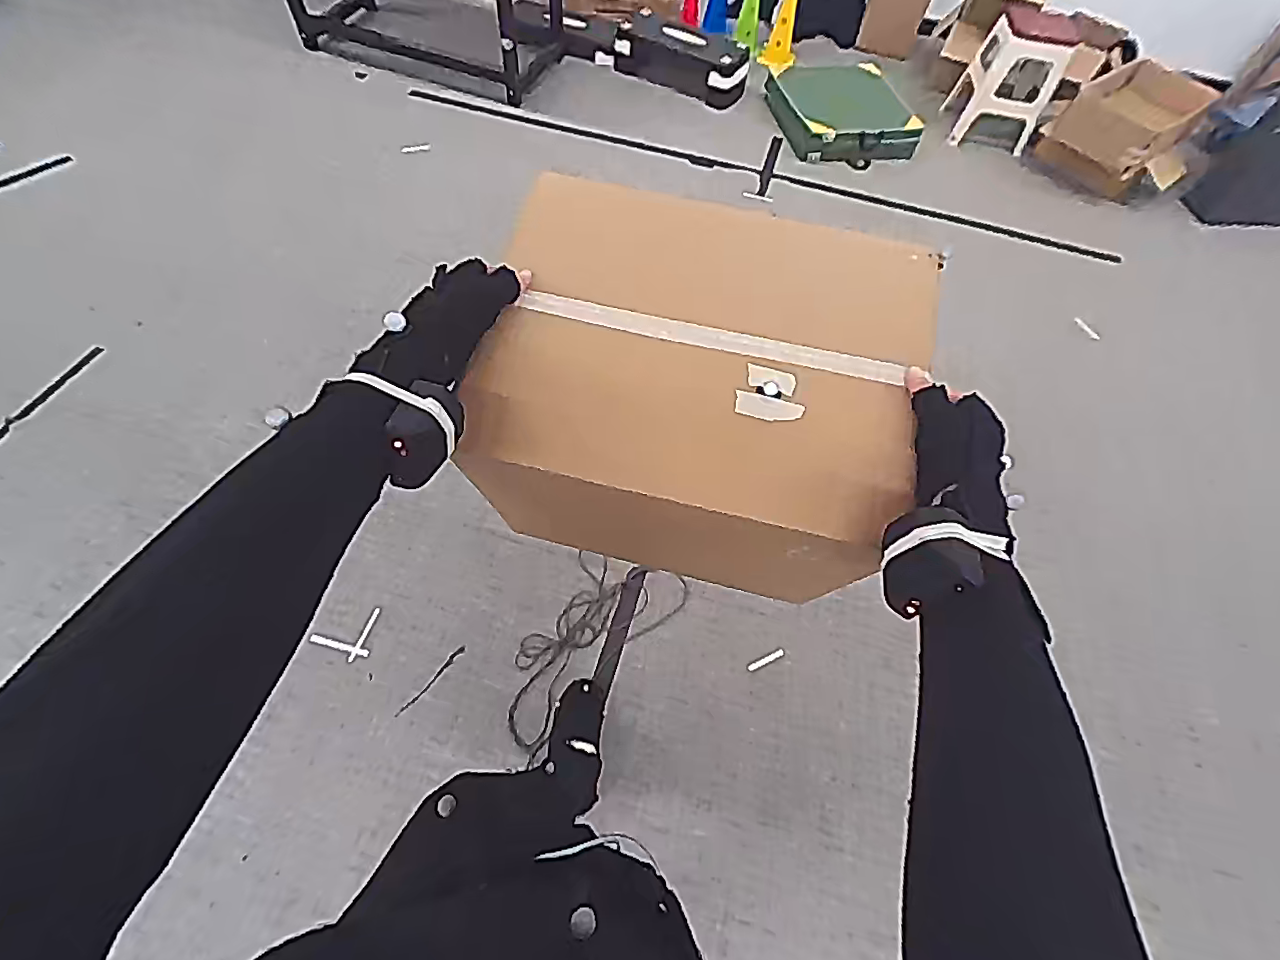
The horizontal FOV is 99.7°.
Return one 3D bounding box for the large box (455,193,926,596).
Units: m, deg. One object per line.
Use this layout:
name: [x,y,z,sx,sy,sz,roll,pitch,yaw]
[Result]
large box: [0.059,-0.074,0.650,0.408,0.320,0.320,14,72,4]
